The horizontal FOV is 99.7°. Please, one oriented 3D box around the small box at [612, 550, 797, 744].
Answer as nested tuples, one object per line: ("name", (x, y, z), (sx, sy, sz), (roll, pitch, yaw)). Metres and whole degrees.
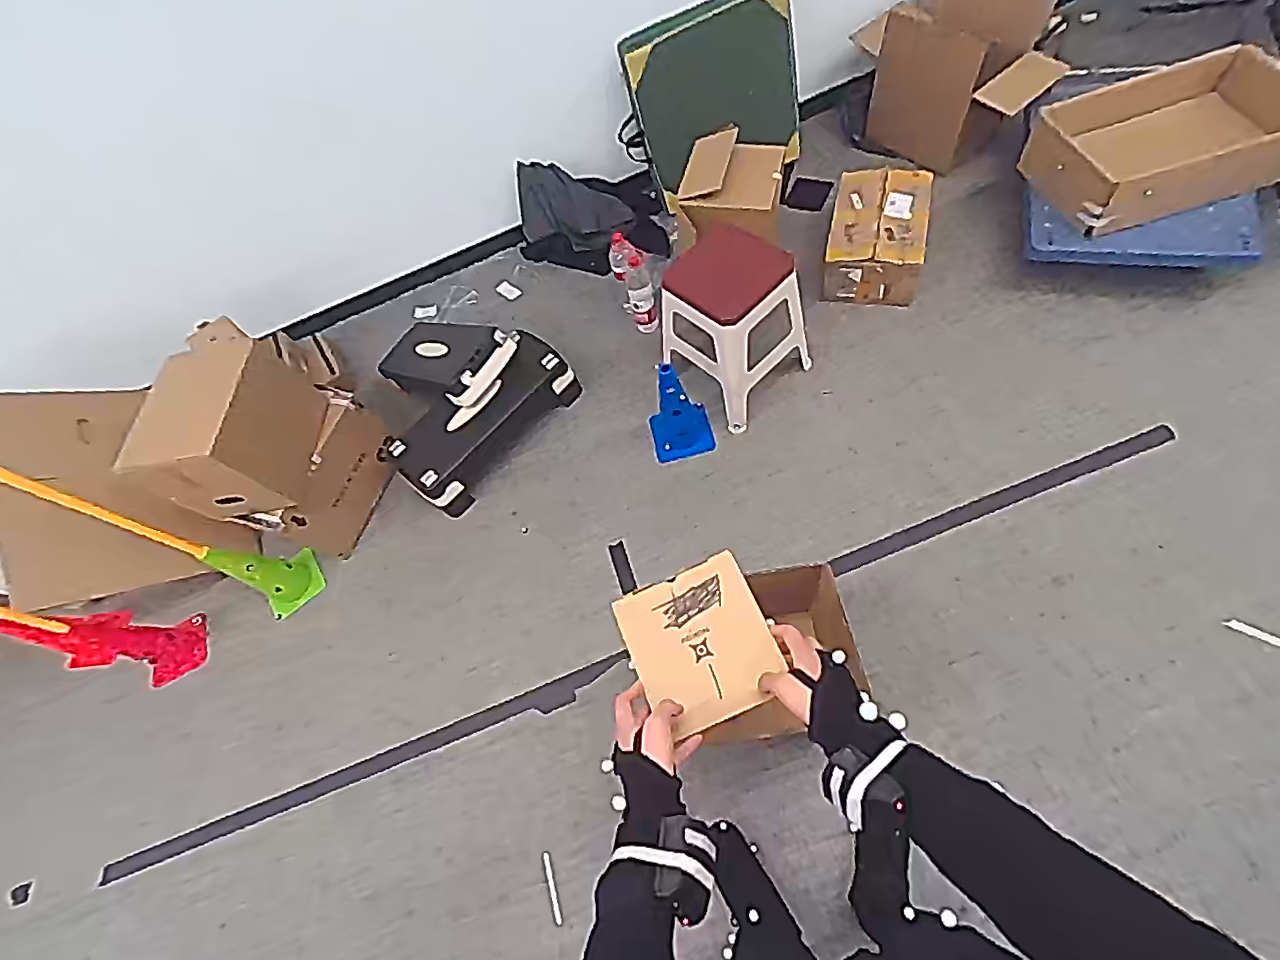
("small box", (0.081, 0.217, 0.702), (0.168, 0.176, 0.179), (-25, 68, 1))
